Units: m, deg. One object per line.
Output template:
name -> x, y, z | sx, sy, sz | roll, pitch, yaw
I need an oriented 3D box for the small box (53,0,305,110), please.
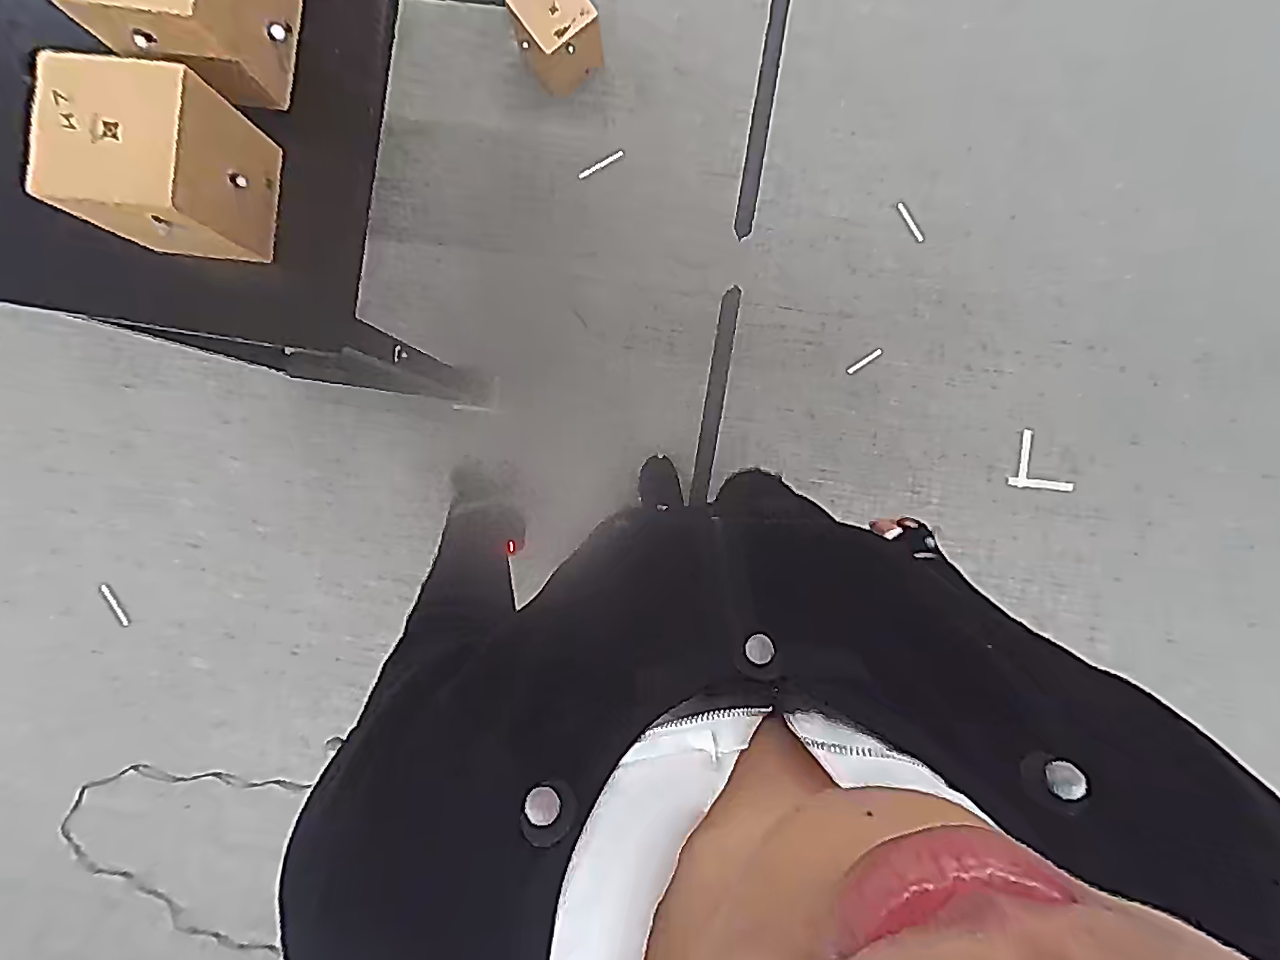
small box -> -0.580, -0.618, 0.700 | 0.179, 0.176, 0.168 | 8, 91, 1

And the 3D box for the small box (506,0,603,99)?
small box -> -0.214, -1.156, 1.407 | 0.168, 0.176, 0.179 | -38, 90, 2
